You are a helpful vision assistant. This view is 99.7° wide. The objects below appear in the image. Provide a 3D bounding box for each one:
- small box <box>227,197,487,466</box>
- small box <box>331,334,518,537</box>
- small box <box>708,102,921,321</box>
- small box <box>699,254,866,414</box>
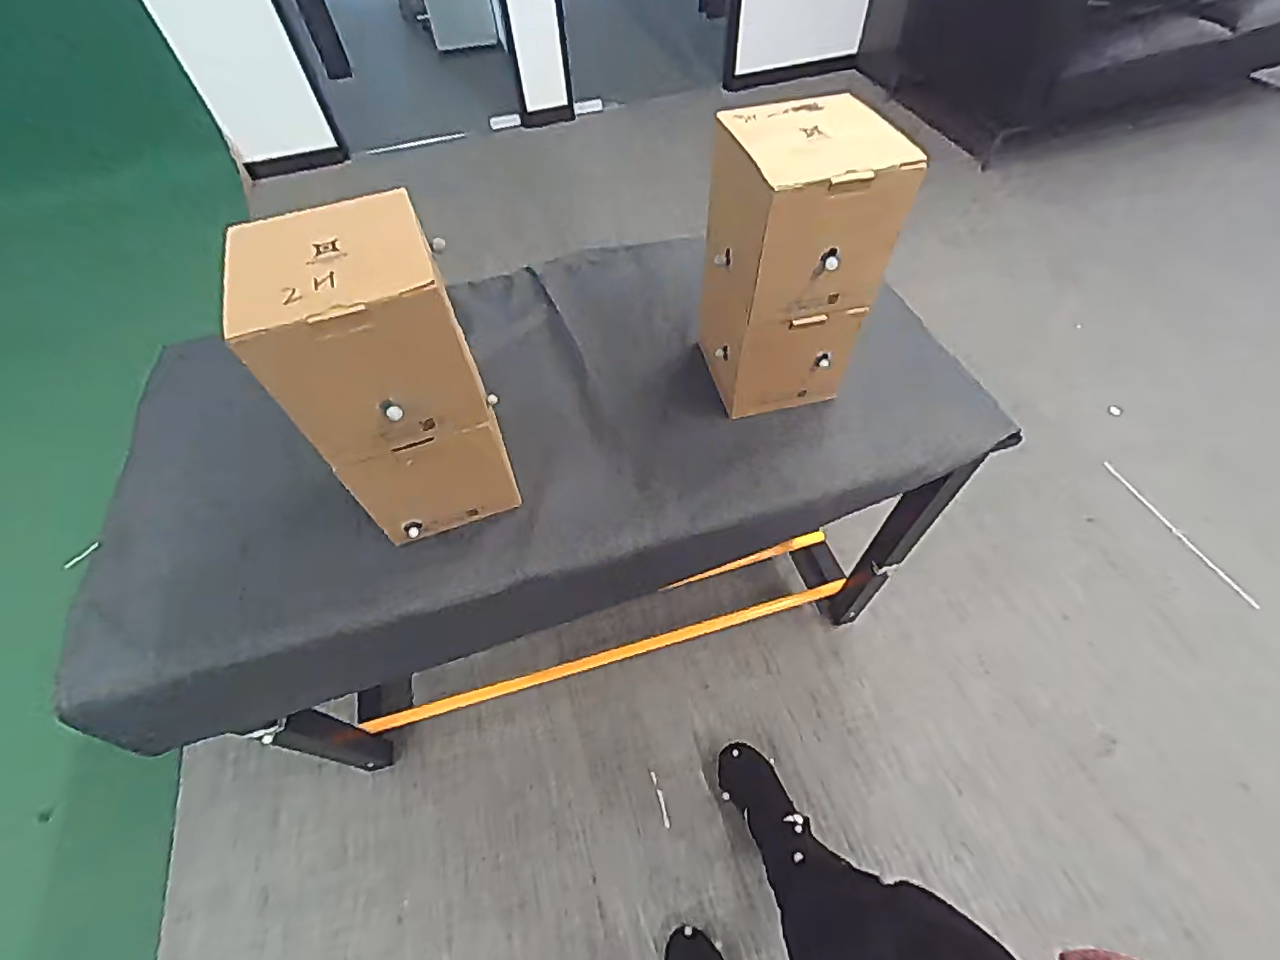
[{"bbox_3d":[-0.269,-0.146,0.541,0.168,0.176,0.179,-20,56,-11],"label":"small box"},{"bbox_3d":[-0.263,-0.049,0.674,0.168,0.176,0.179,-18,55,-10],"label":"small box"},{"bbox_3d":[0.185,-0.307,0.637,0.168,0.176,0.179,-12,56,-6],"label":"small box"},{"bbox_3d":[0.187,-0.210,0.770,0.168,0.176,0.179,-11,54,-6],"label":"small box"}]
